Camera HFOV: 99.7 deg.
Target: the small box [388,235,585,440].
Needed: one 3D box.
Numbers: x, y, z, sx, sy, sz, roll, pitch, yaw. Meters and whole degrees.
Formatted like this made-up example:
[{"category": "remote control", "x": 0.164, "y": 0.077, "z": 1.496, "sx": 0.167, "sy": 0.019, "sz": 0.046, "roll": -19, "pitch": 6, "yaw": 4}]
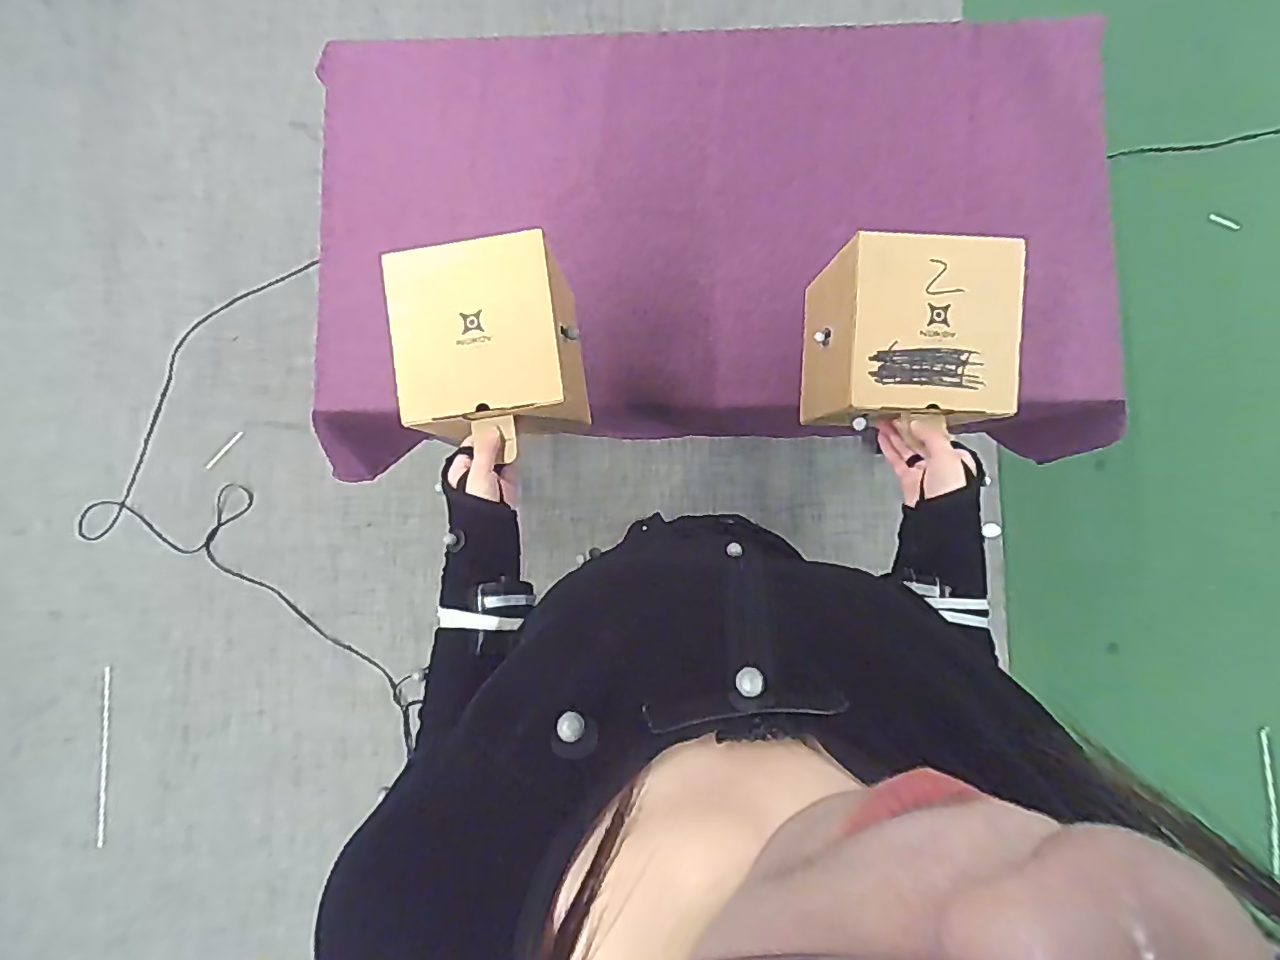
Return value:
[{"category": "small box", "x": -0.164, "y": -0.150, "z": 0.627, "sx": 0.168, "sy": 0.176, "sz": 0.179, "roll": -8, "pitch": 88, "yaw": 3}]
